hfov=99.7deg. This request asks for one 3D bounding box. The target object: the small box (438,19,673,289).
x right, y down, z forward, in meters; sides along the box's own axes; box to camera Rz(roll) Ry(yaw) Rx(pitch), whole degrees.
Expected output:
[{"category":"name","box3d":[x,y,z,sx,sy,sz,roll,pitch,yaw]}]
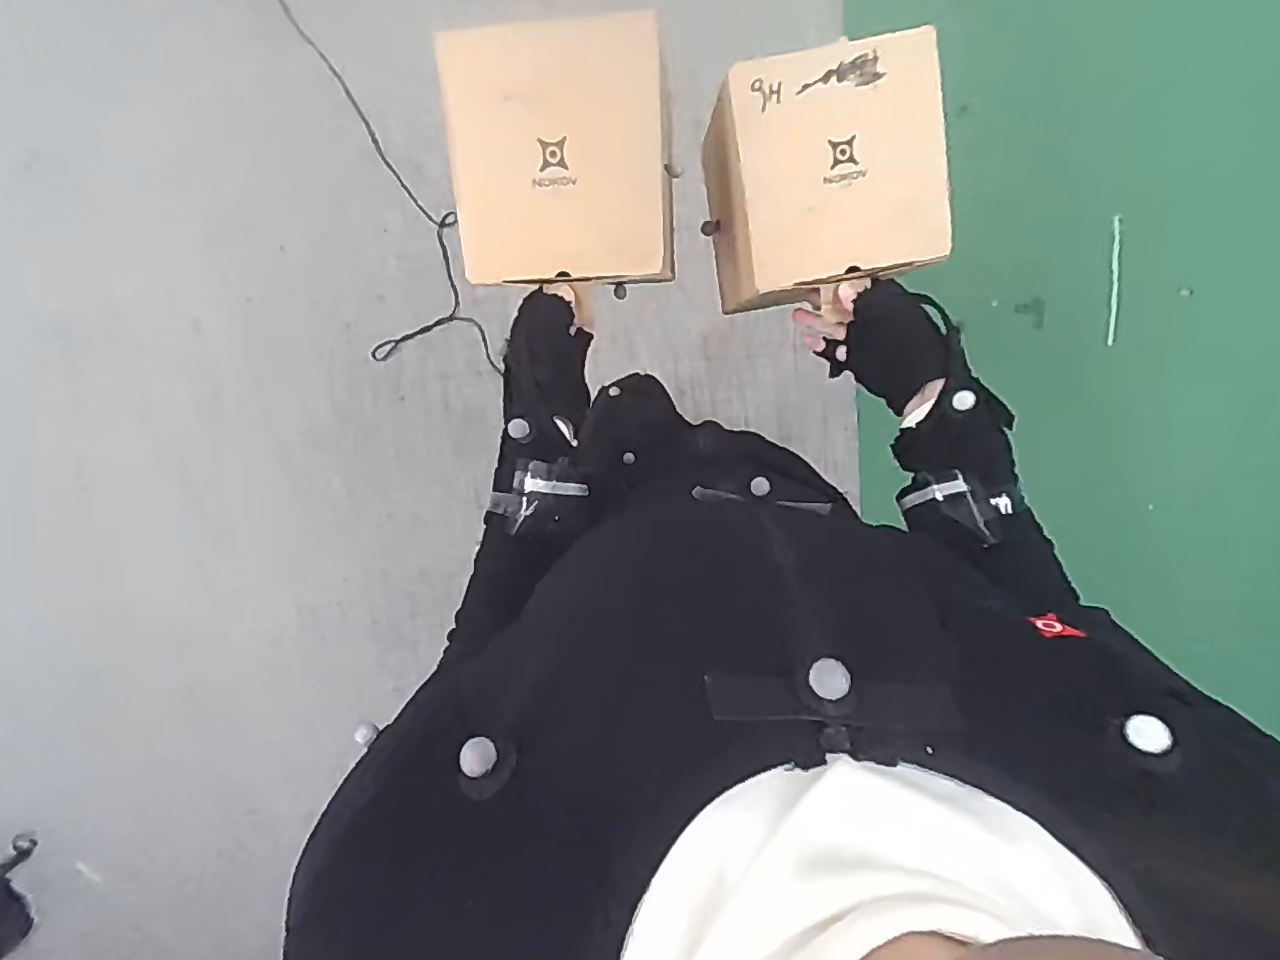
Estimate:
[{"category":"small box","box3d":[-0.058,-0.273,0.498,0.168,0.176,0.179,-1,108,7]}]
